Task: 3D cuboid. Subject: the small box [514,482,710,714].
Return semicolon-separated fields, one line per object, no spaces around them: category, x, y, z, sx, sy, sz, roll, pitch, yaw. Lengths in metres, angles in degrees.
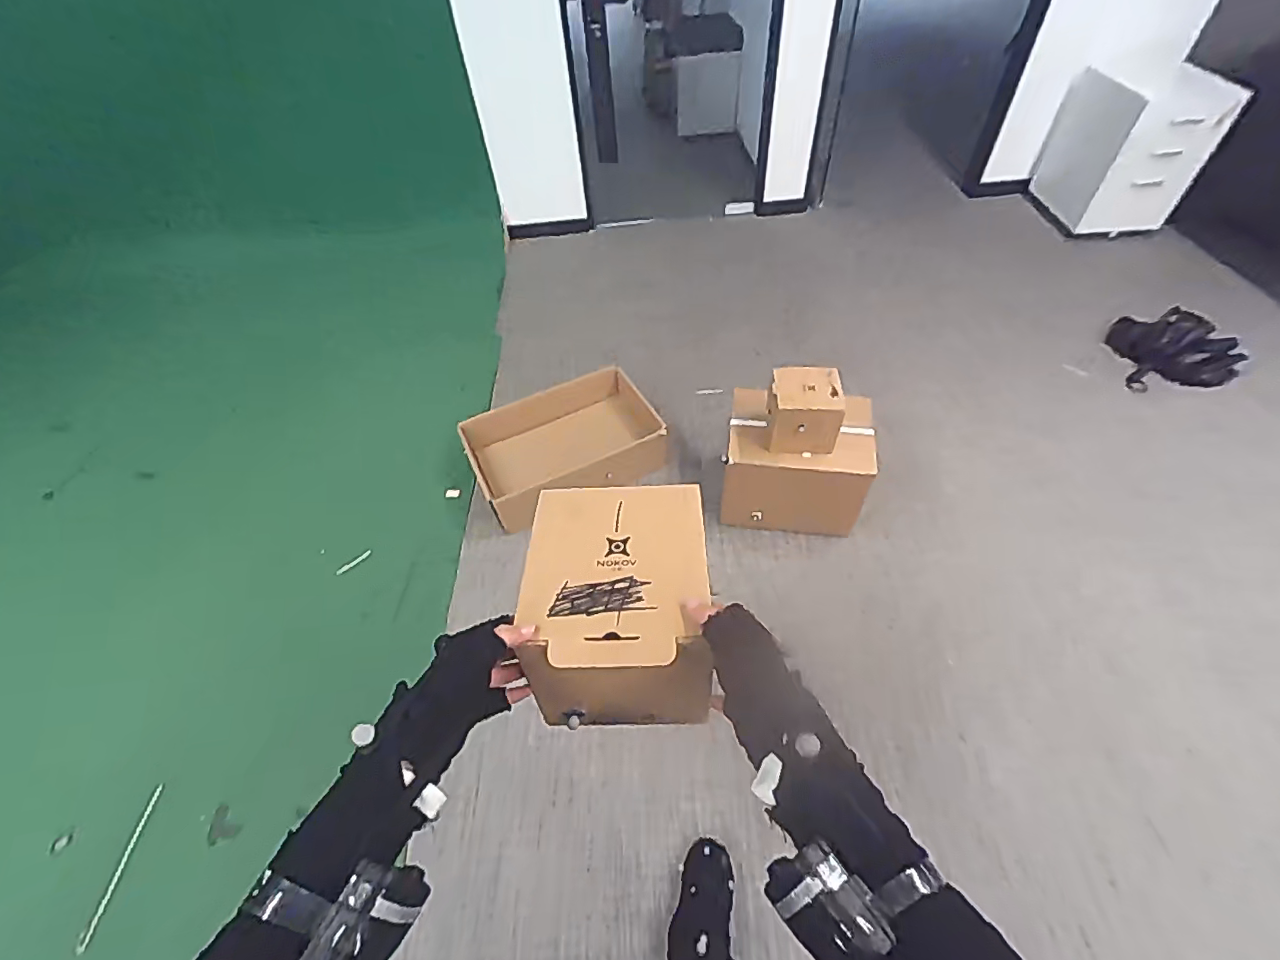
small box;-0.017;0.123;0.550;0.168;0.176;0.179;-2;43;2

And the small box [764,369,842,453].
small box;0.439;-0.188;1.488;0.179;0.176;0.168;0;51;6
